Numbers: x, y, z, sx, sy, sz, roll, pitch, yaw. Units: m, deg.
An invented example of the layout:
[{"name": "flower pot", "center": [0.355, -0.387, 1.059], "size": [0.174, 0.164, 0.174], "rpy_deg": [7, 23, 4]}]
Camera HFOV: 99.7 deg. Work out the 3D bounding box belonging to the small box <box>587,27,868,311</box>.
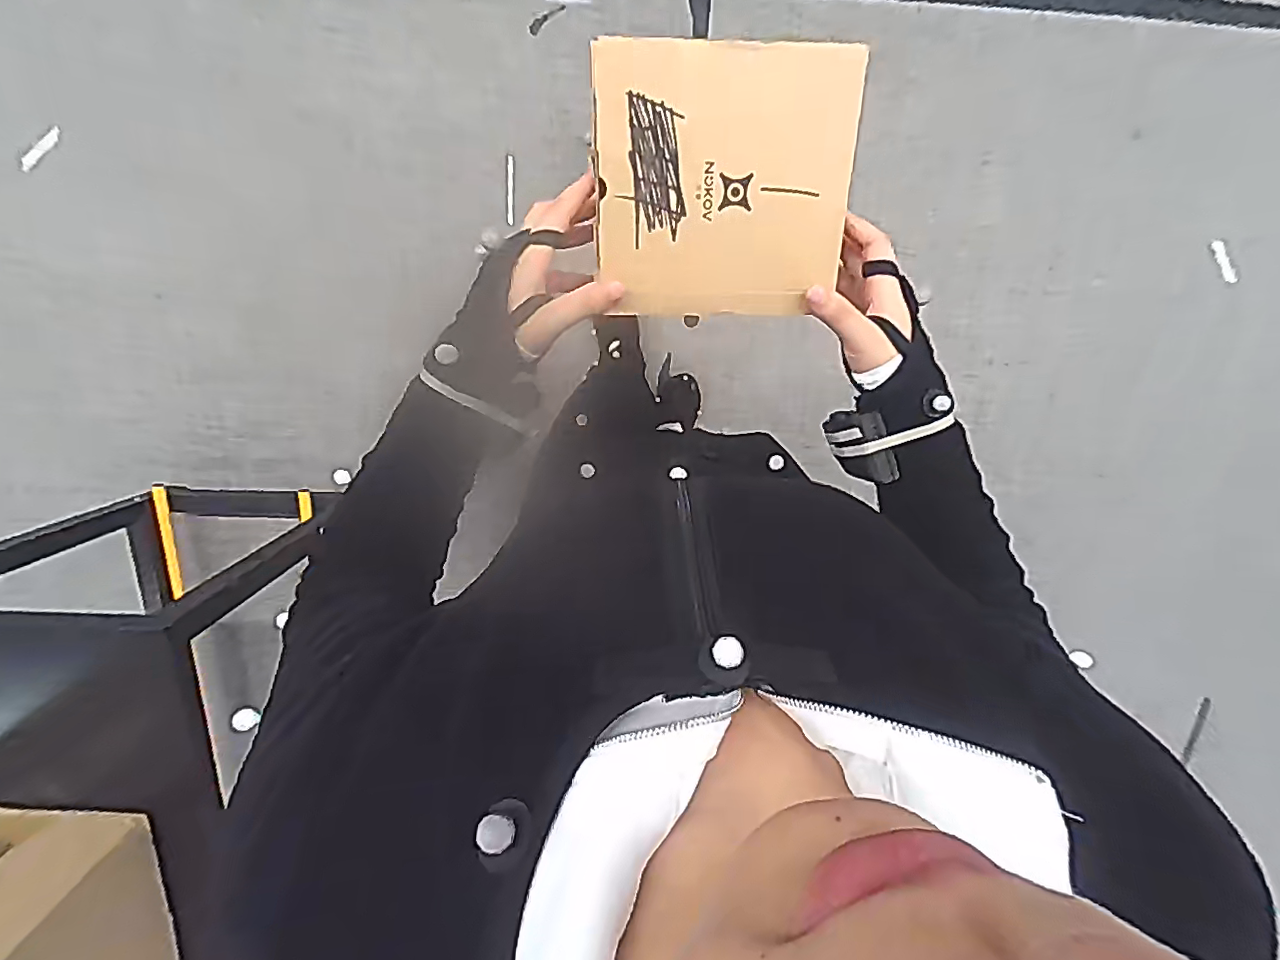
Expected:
[{"name": "small box", "center": [0.051, -0.230, 0.435], "size": [0.179, 0.176, 0.168], "rpy_deg": [0, 113, -2]}]
